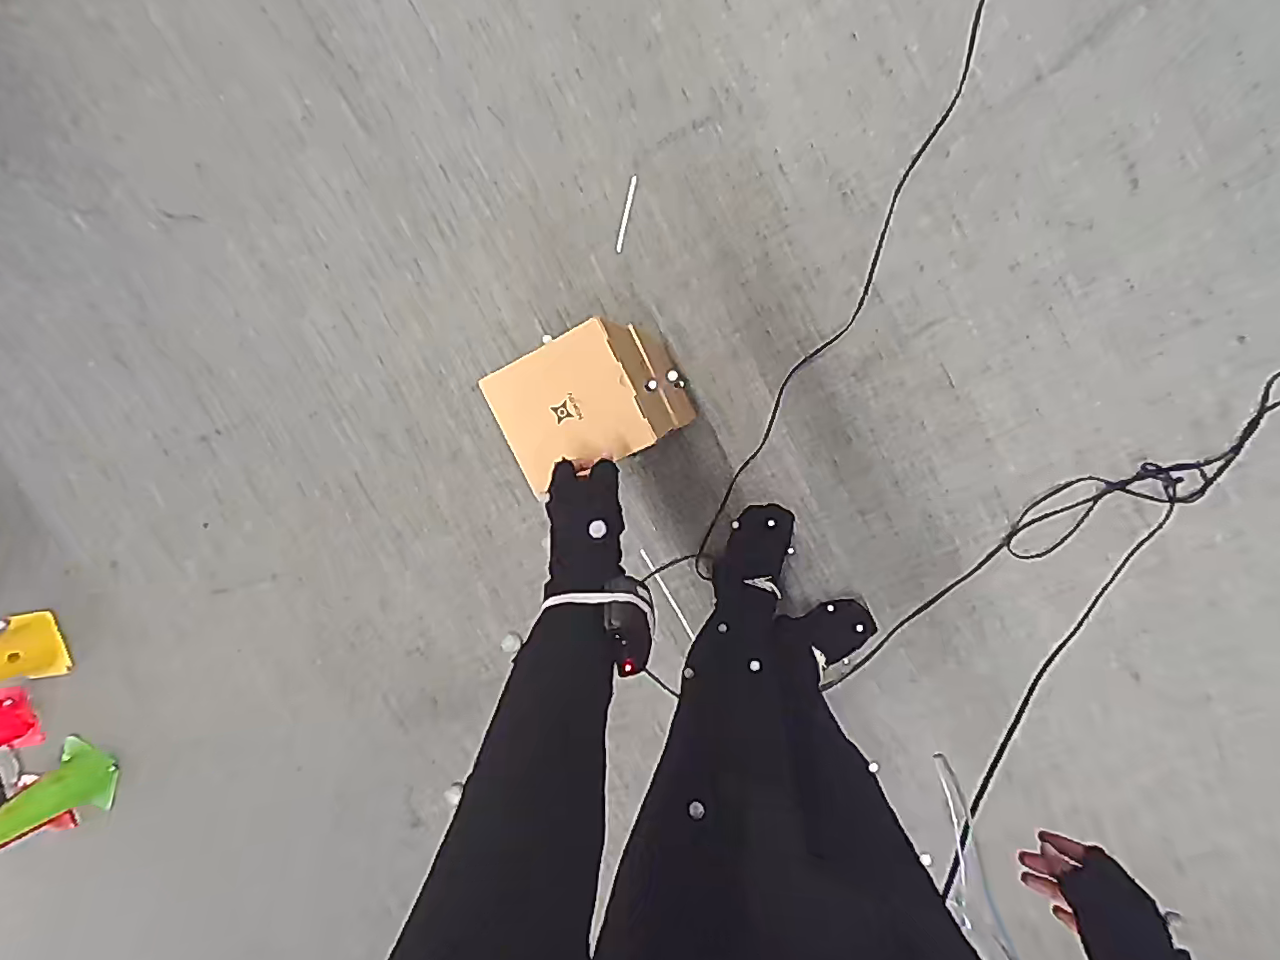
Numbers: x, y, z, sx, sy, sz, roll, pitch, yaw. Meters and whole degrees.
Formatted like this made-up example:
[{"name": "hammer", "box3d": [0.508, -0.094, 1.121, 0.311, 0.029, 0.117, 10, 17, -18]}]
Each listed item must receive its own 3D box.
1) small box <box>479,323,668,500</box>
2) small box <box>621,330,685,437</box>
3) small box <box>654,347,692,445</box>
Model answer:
[{"name": "small box", "box3d": [-0.077, -0.092, 0.737, 0.179, 0.176, 0.168, -25, 95, 13]}, {"name": "small box", "box3d": [-0.041, -0.127, 0.892, 0.179, 0.176, 0.168, -24, 96, 13]}, {"name": "small box", "box3d": [-0.009, -0.152, 1.051, 0.168, 0.176, 0.179, -25, 96, 14]}]
